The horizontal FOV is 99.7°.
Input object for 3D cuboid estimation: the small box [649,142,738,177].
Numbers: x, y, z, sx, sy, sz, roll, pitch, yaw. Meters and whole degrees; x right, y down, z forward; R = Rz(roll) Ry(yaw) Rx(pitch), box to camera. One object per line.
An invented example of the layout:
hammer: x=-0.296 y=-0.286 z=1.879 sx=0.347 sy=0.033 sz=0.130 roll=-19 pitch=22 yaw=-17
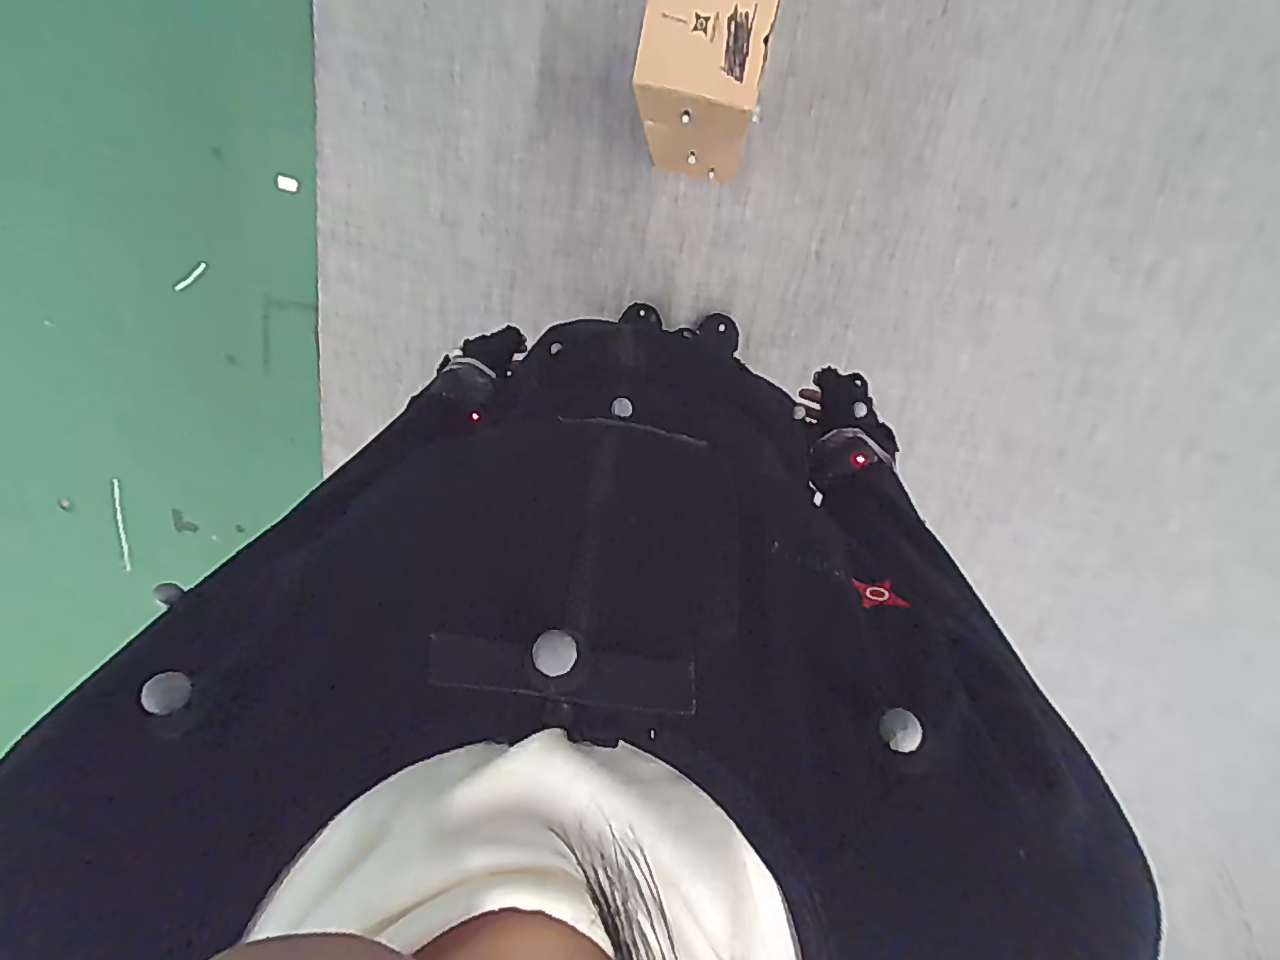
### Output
small box: x=0.125 y=-0.745 z=1.121 sx=0.179 sy=0.176 sz=0.168 roll=11 pitch=109 yaw=4

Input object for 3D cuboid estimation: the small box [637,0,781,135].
small box: x=0.099 y=-0.641 z=0.811 sx=0.179 sy=0.176 sz=0.168 roll=11 pitch=109 yaw=1

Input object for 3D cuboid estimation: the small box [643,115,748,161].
small box: x=0.112 y=-0.691 z=0.967 sx=0.179 sy=0.176 sz=0.168 roll=13 pitch=109 yaw=1
